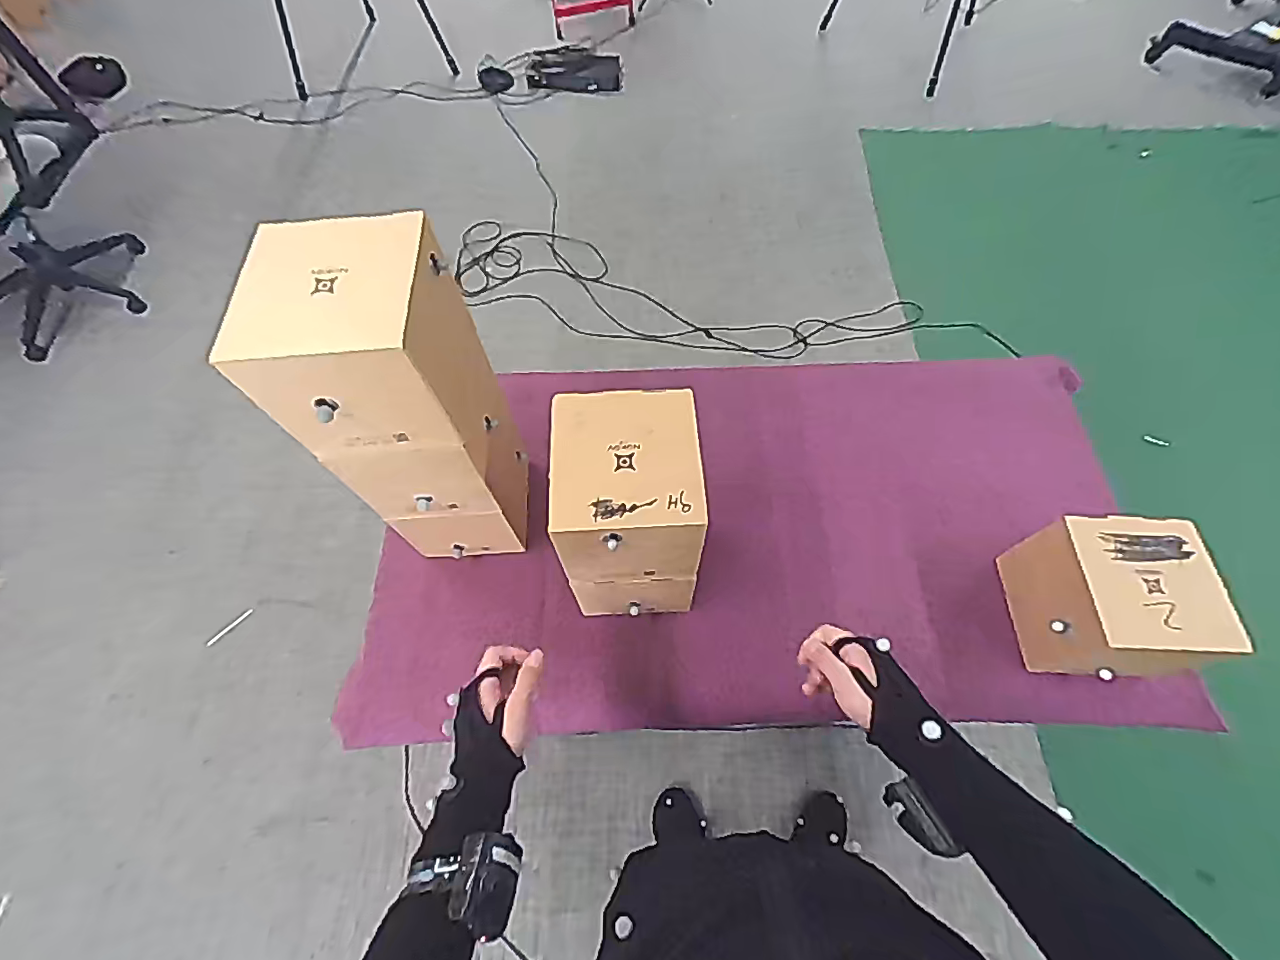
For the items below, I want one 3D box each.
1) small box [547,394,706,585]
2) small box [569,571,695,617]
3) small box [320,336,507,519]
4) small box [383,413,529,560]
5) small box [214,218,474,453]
[{"bbox_3d":[-0.015,0.016,0.660,0.168,0.176,0.179,-3,61,0],"label":"small box"},{"bbox_3d":[-0.011,0.095,0.804,0.168,0.176,0.179,-2,62,0],"label":"small box"},{"bbox_3d":[-0.278,-0.064,0.710,0.168,0.176,0.179,-4,63,0],"label":"small box"},{"bbox_3d":[-0.276,0.014,0.853,0.168,0.176,0.179,-4,63,0],"label":"small box"},{"bbox_3d":[-0.283,-0.138,0.565,0.168,0.176,0.179,-5,62,0],"label":"small box"}]
